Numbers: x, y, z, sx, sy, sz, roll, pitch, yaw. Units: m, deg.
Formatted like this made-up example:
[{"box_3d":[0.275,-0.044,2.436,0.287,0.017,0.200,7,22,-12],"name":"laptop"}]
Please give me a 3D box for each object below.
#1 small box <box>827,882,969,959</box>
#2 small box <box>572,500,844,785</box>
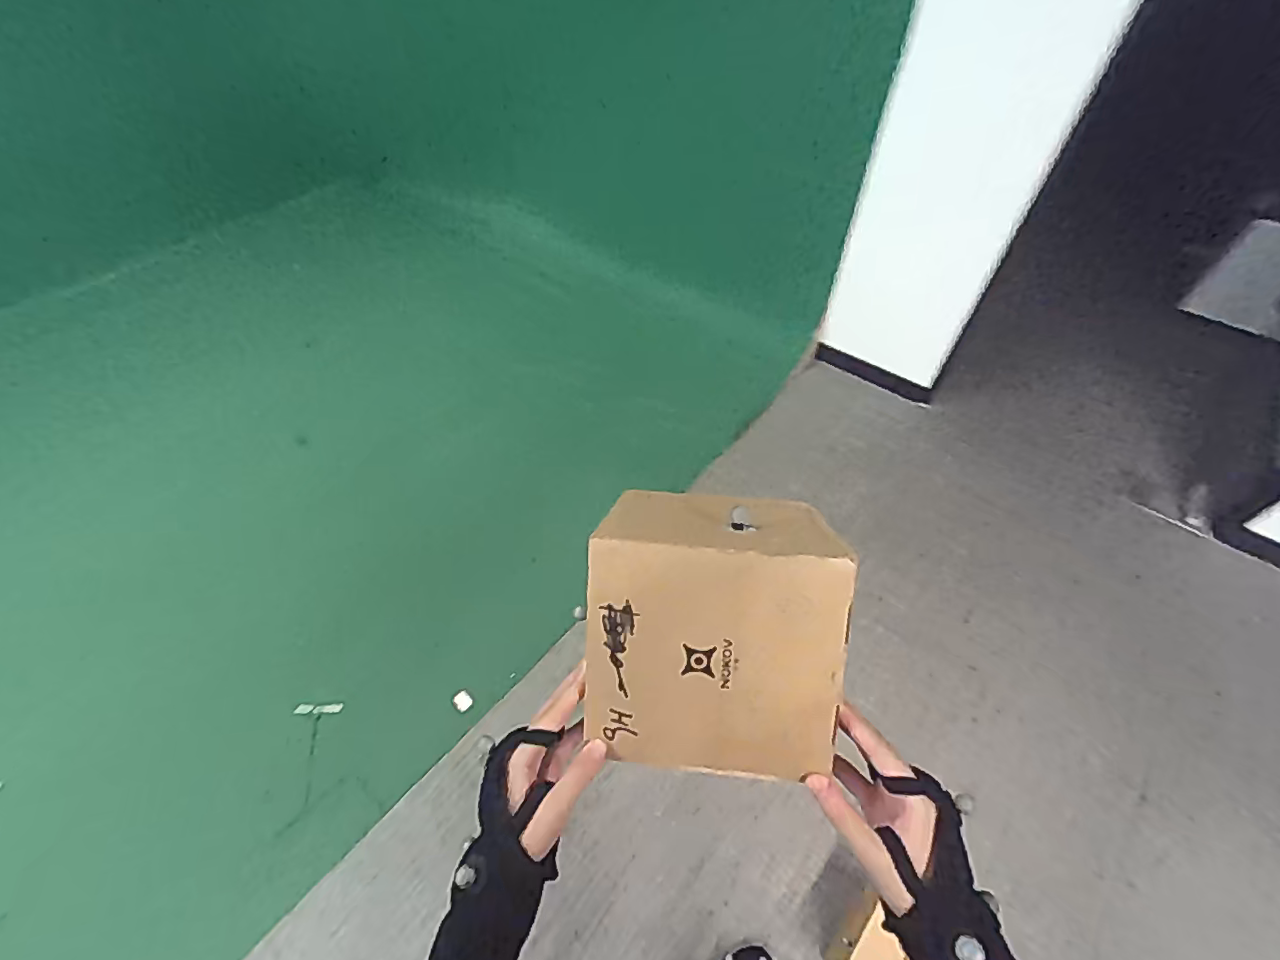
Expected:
[{"box_3d":[0.490,0.926,1.052,0.168,0.176,0.179,36,62,25],"name":"small box"},{"box_3d":[0.048,0.113,0.445,0.179,0.168,0.176,4,8,5],"name":"small box"}]
